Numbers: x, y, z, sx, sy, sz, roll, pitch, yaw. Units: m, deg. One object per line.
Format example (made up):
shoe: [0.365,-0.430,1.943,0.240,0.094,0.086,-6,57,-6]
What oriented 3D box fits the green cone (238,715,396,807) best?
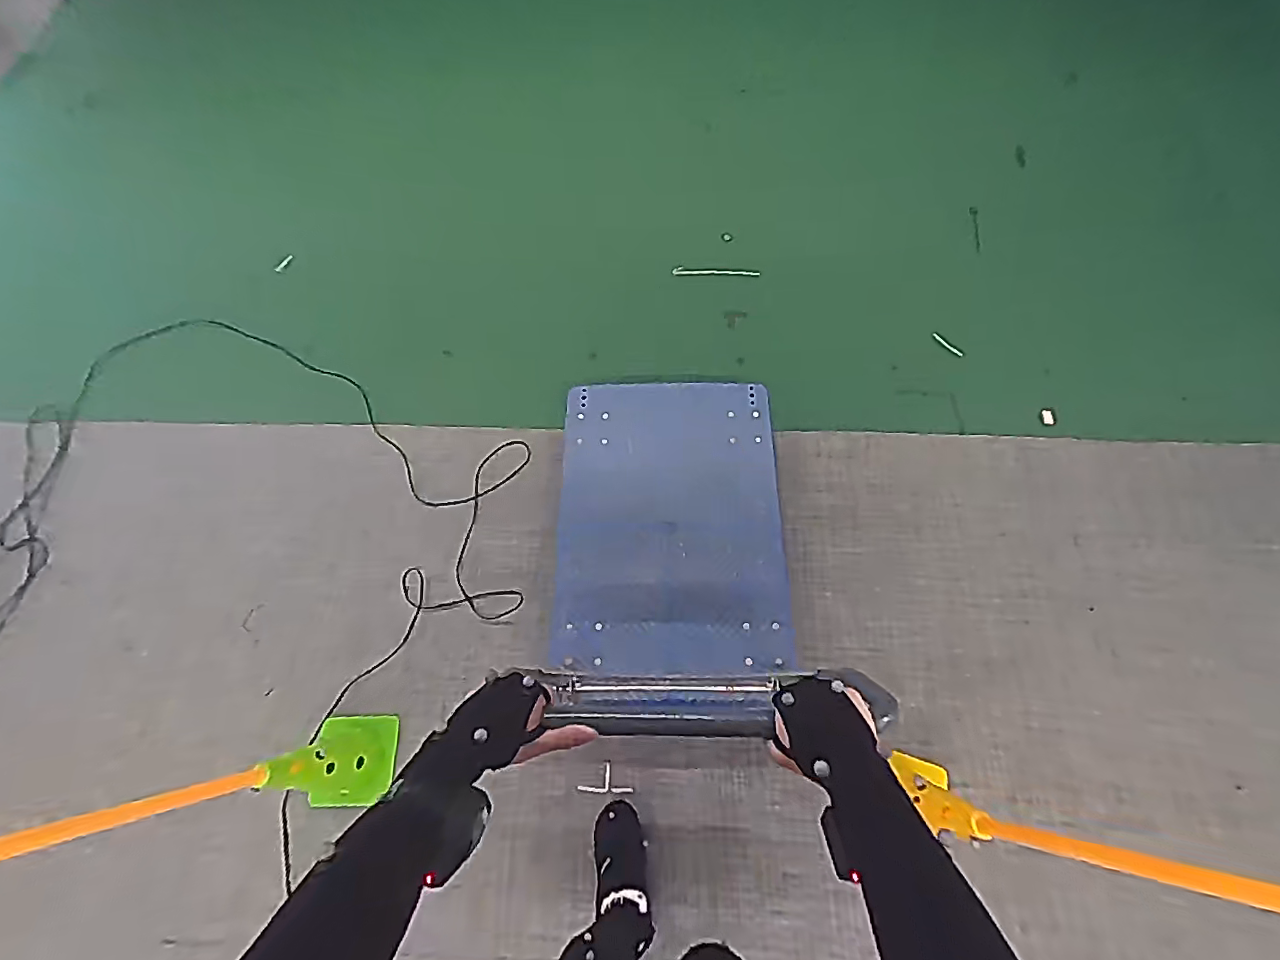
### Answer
green cone: [-0.717,0.620,1.174,0.202,0.368,0.200,-3,66,2]
